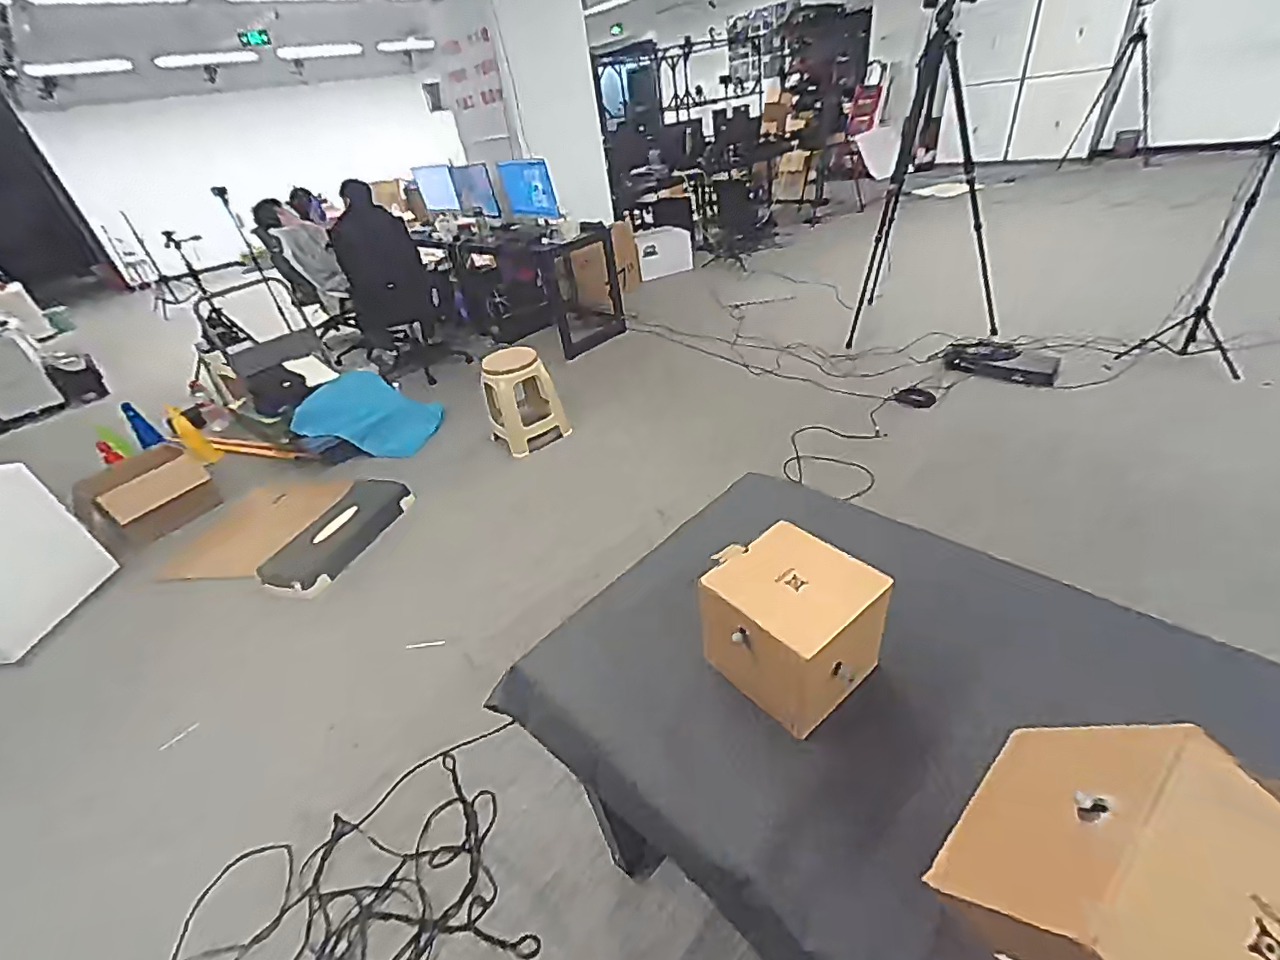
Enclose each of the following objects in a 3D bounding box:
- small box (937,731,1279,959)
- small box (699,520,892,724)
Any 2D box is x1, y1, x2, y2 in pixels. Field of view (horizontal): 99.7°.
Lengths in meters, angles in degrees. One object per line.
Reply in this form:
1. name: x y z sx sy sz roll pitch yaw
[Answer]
1. small box: 0.358 0.307 0.385 0.179 0.176 0.168 -38 74 -22
2. small box: 0.201 0.190 0.721 0.168 0.176 0.179 -29 39 -27
